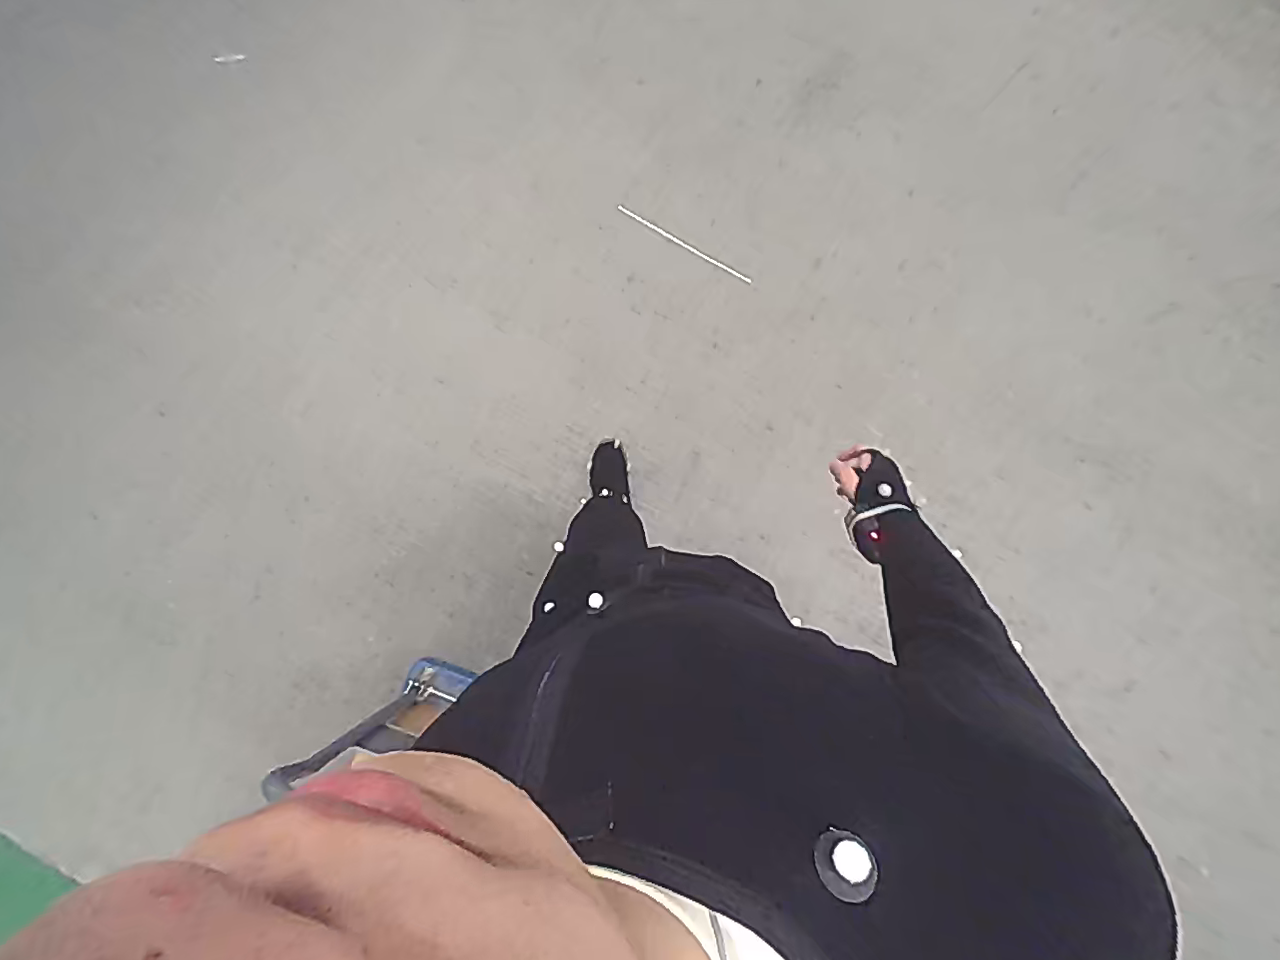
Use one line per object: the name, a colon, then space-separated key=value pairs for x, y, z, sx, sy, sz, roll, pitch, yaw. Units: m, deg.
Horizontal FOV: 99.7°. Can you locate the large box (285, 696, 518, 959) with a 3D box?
large box: x=-0.514 y=0.782 z=1.250 sx=0.320 sy=0.320 sz=0.408 roll=20 pitch=86 yaw=0
